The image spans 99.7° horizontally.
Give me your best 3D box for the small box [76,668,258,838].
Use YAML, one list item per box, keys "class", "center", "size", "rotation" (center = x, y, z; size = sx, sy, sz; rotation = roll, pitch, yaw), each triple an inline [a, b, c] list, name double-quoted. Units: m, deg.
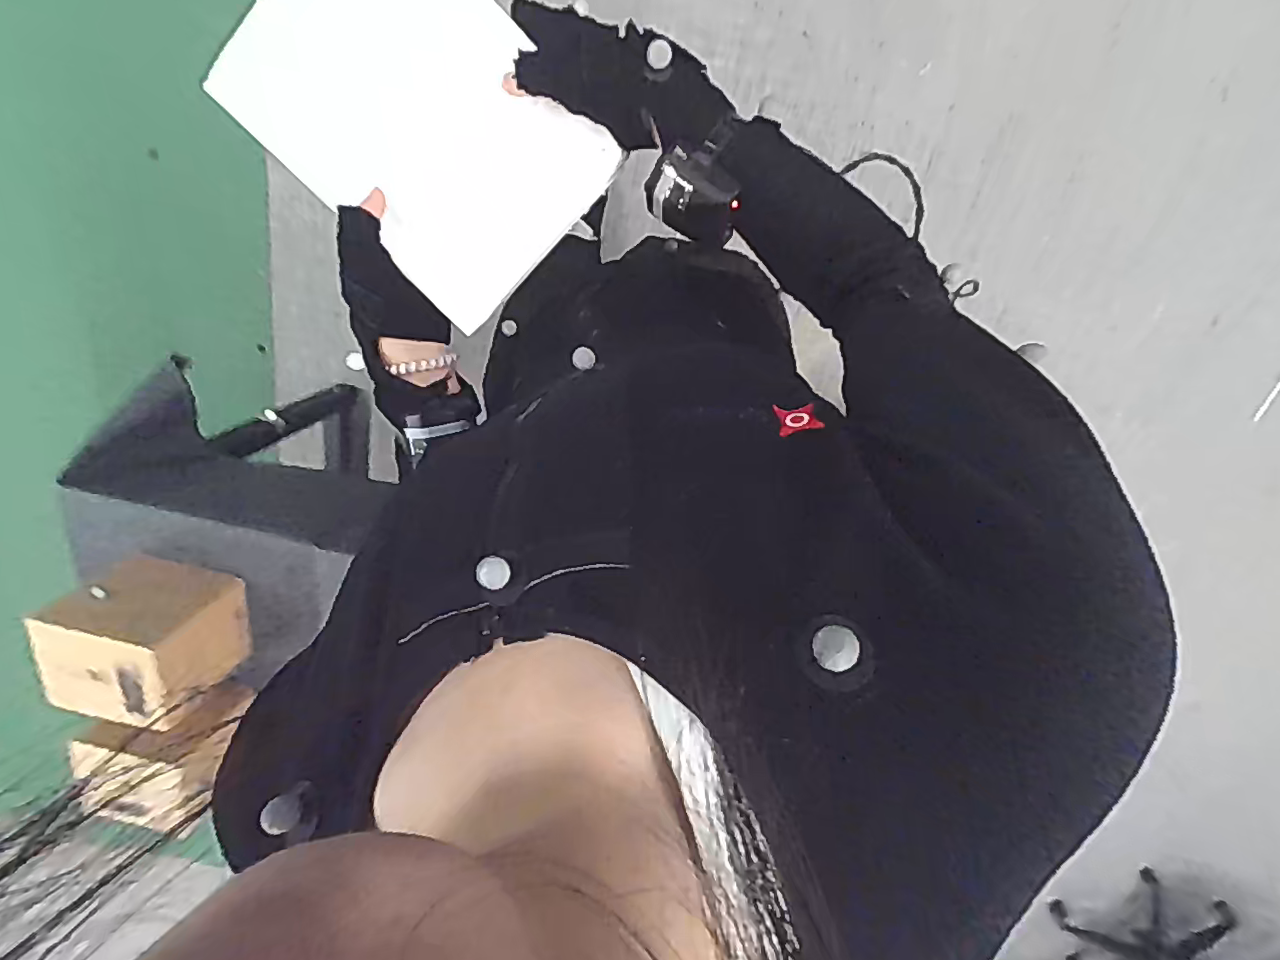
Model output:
- class: "small box"
  center: [-0.794, 0.462, 0.929]
  size: [0.168, 0.176, 0.179]
  rotation: [16, 113, -3]
